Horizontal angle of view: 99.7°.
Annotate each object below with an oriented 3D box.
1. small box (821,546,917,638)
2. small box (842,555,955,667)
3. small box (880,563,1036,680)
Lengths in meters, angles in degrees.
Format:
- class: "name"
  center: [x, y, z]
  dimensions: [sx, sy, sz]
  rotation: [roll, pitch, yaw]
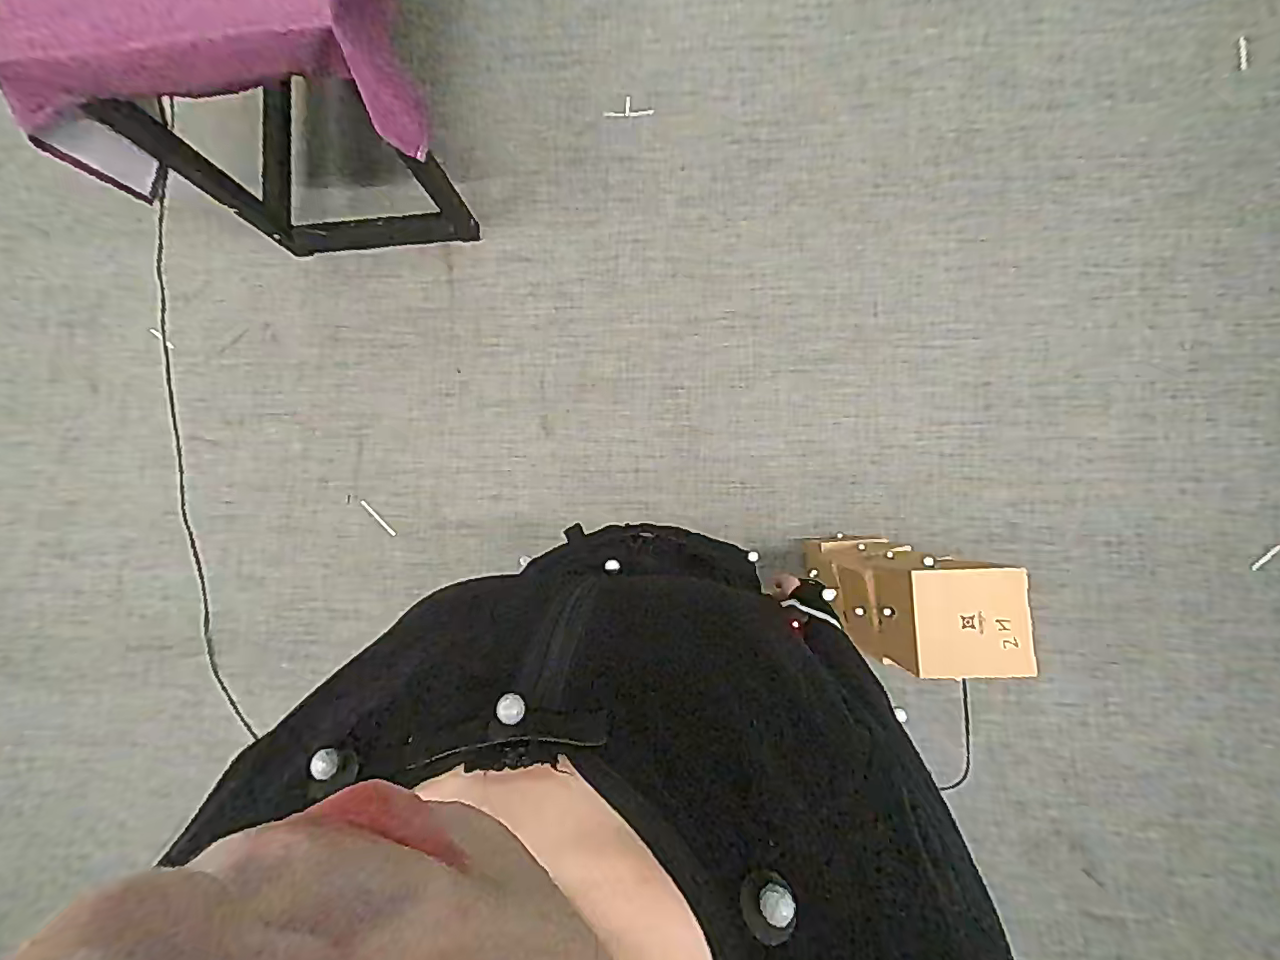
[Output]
- class: "small box"
  center: [0.527, 0.249, 1.231]
  dimensions: [0.179, 0.176, 0.168]
  rotation: [-13, 85, 2]
- class: "small box"
  center: [0.518, 0.251, 1.068]
  dimensions: [0.168, 0.176, 0.179]
  rotation: [-10, 84, 3]
- class: "small box"
  center: [0.515, 0.228, 0.904]
  dimensions: [0.179, 0.176, 0.168]
  rotation: [-1, 85, 4]
